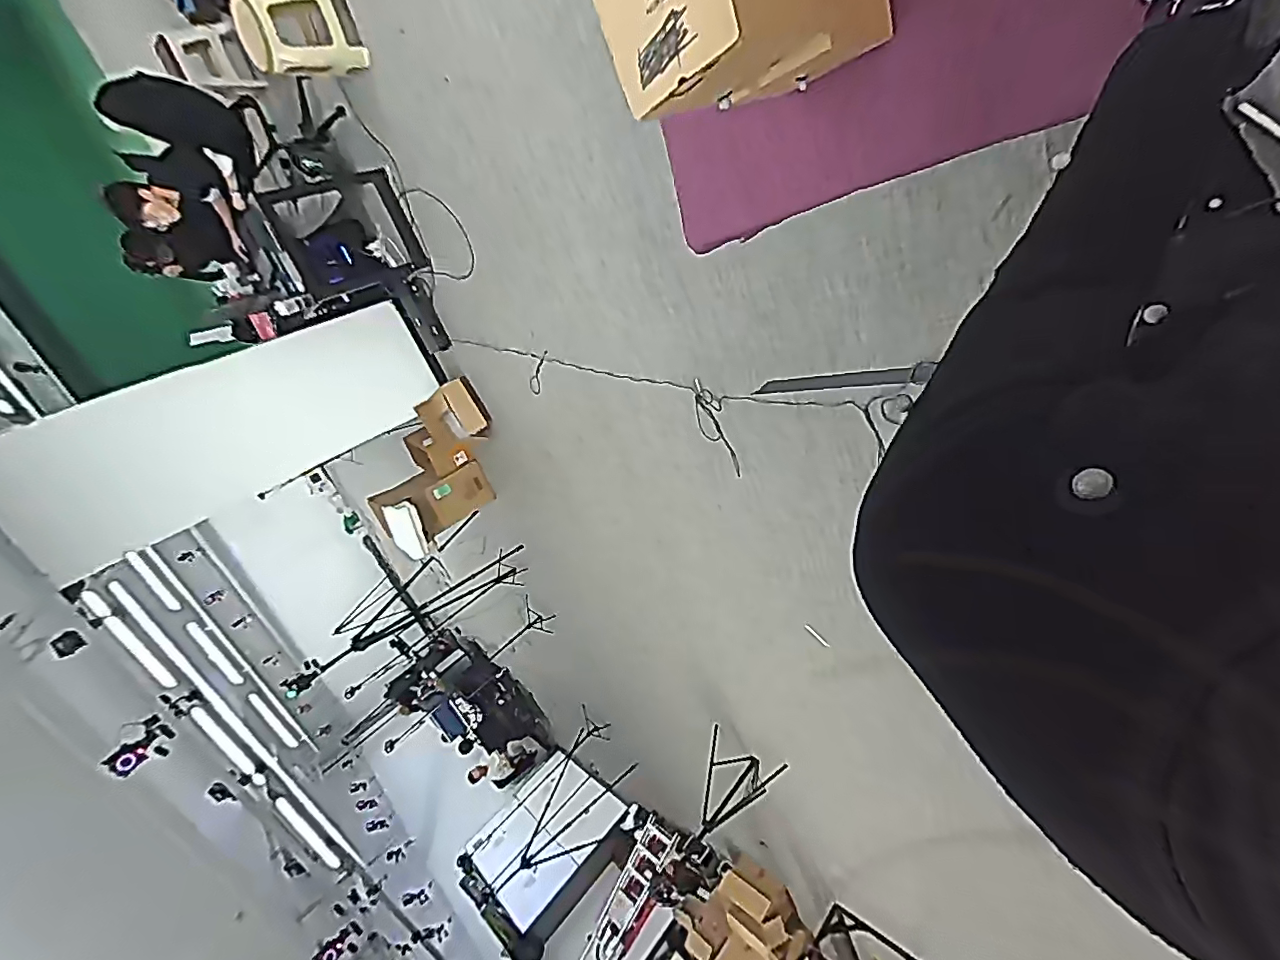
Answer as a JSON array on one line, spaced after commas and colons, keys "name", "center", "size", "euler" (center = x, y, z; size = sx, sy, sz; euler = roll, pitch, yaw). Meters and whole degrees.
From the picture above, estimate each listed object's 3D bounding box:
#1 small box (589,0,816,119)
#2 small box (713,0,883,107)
[{"name": "small box", "center": [0.065, -0.533, 0.584], "size": [0.168, 0.176, 0.179], "euler": [3, 122, 50]}, {"name": "small box", "center": [0.182, -0.607, 0.673], "size": [0.168, 0.176, 0.179], "euler": [8, 126, 47]}]
